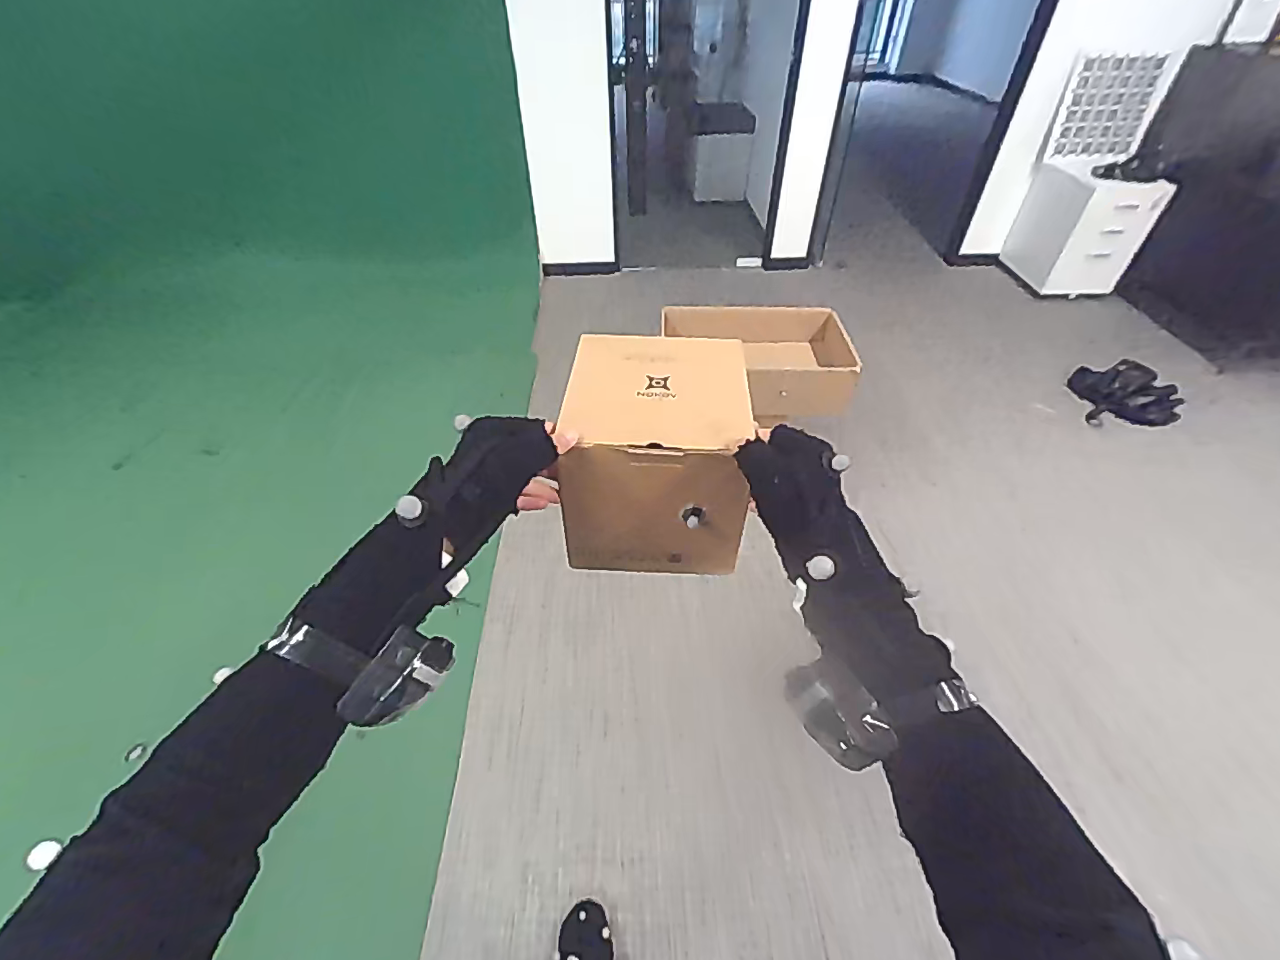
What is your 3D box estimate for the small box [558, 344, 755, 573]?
[{"bbox_3d":[0.018,-0.022,0.553,0.168,0.176,0.179,2,42,1],"label":"small box"}]
